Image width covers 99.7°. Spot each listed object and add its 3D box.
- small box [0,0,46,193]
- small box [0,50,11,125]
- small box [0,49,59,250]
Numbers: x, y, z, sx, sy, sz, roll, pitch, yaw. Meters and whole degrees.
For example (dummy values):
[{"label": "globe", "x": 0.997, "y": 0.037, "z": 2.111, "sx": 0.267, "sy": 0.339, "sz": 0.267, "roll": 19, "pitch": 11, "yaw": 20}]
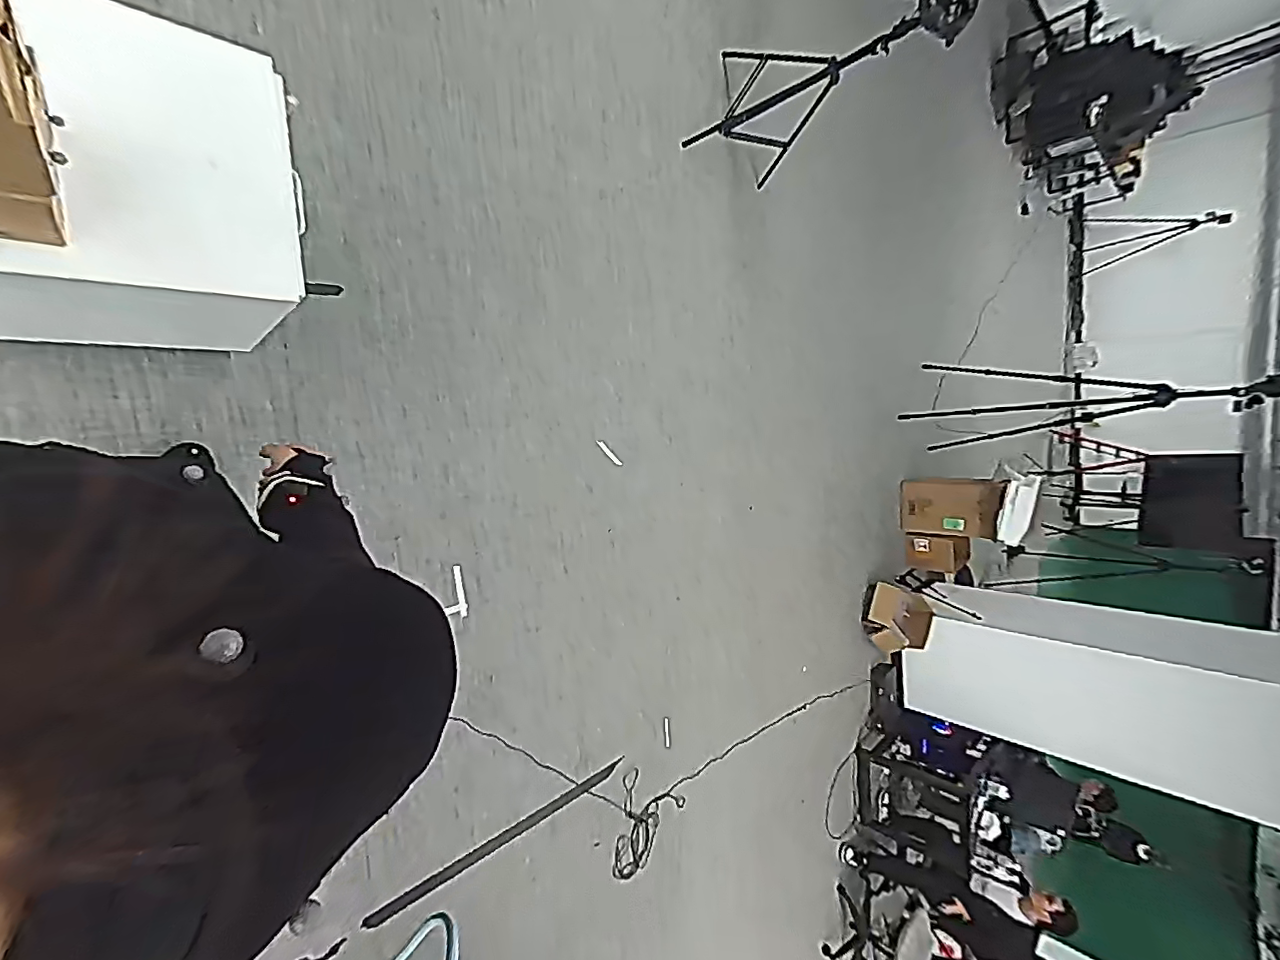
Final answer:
[{"label": "small box", "x": -0.684, "y": -0.384, "z": 0.489, "sx": 0.179, "sy": 0.176, "sz": 0.168, "roll": -13, "pitch": 98, "yaw": -41}, {"label": "small box", "x": -0.577, "y": -0.387, "z": 0.364, "sx": 0.168, "sy": 0.176, "sz": 0.179, "roll": -12, "pitch": 98, "yaw": -41}, {"label": "small box", "x": -0.793, "y": -0.388, "z": 0.612, "sx": 0.168, "sy": 0.176, "sz": 0.179, "roll": -7, "pitch": 96, "yaw": -43}]
